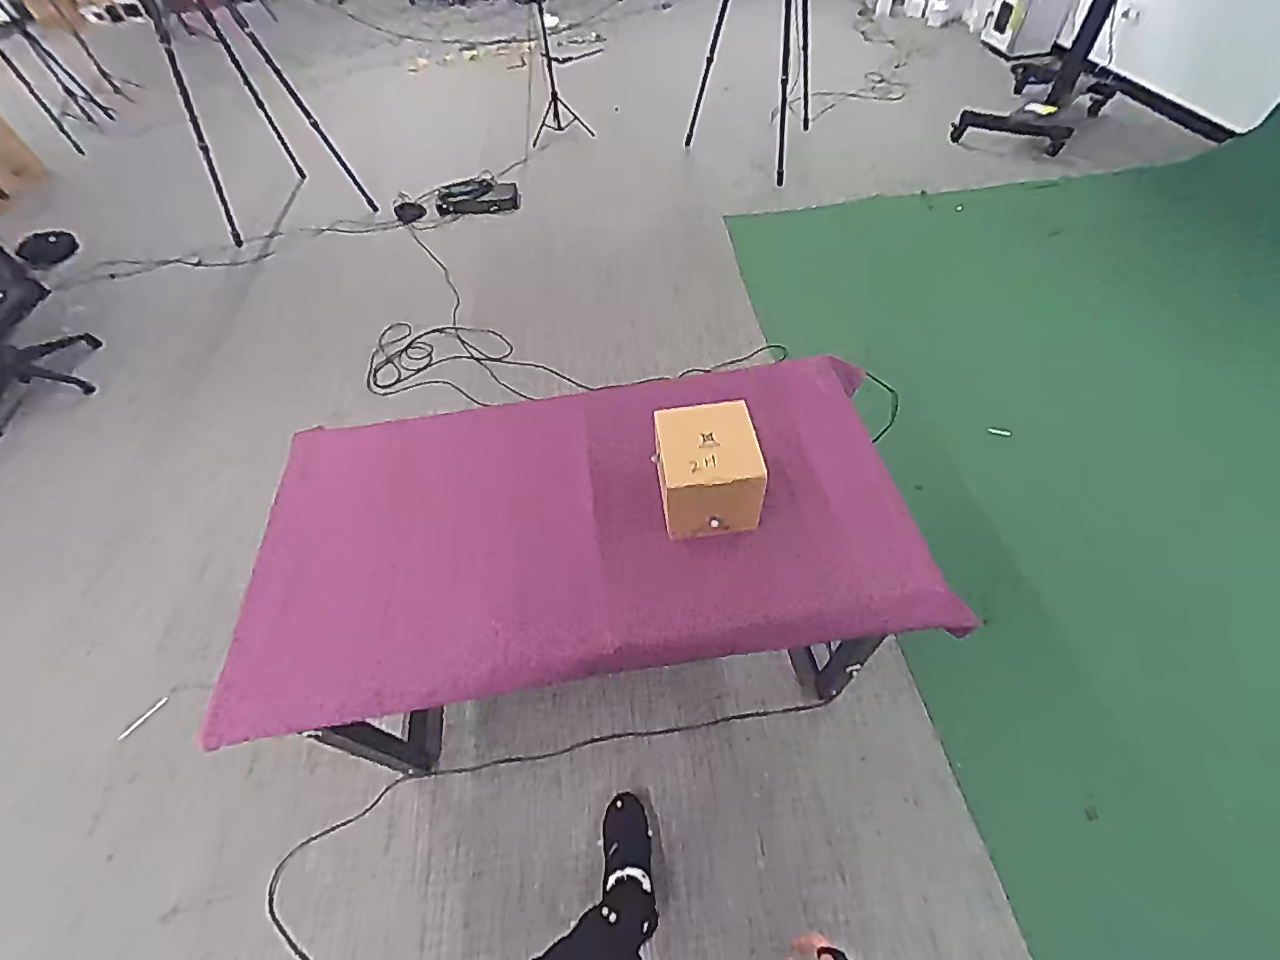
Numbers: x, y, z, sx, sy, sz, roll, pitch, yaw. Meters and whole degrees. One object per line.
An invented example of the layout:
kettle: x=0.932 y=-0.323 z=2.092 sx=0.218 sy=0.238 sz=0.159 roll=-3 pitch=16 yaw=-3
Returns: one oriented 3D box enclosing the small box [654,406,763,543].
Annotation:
small box: x=0.116 y=-0.008 z=0.982 sx=0.168 sy=0.176 sz=0.179 roll=-7 pitch=53 yaw=0
